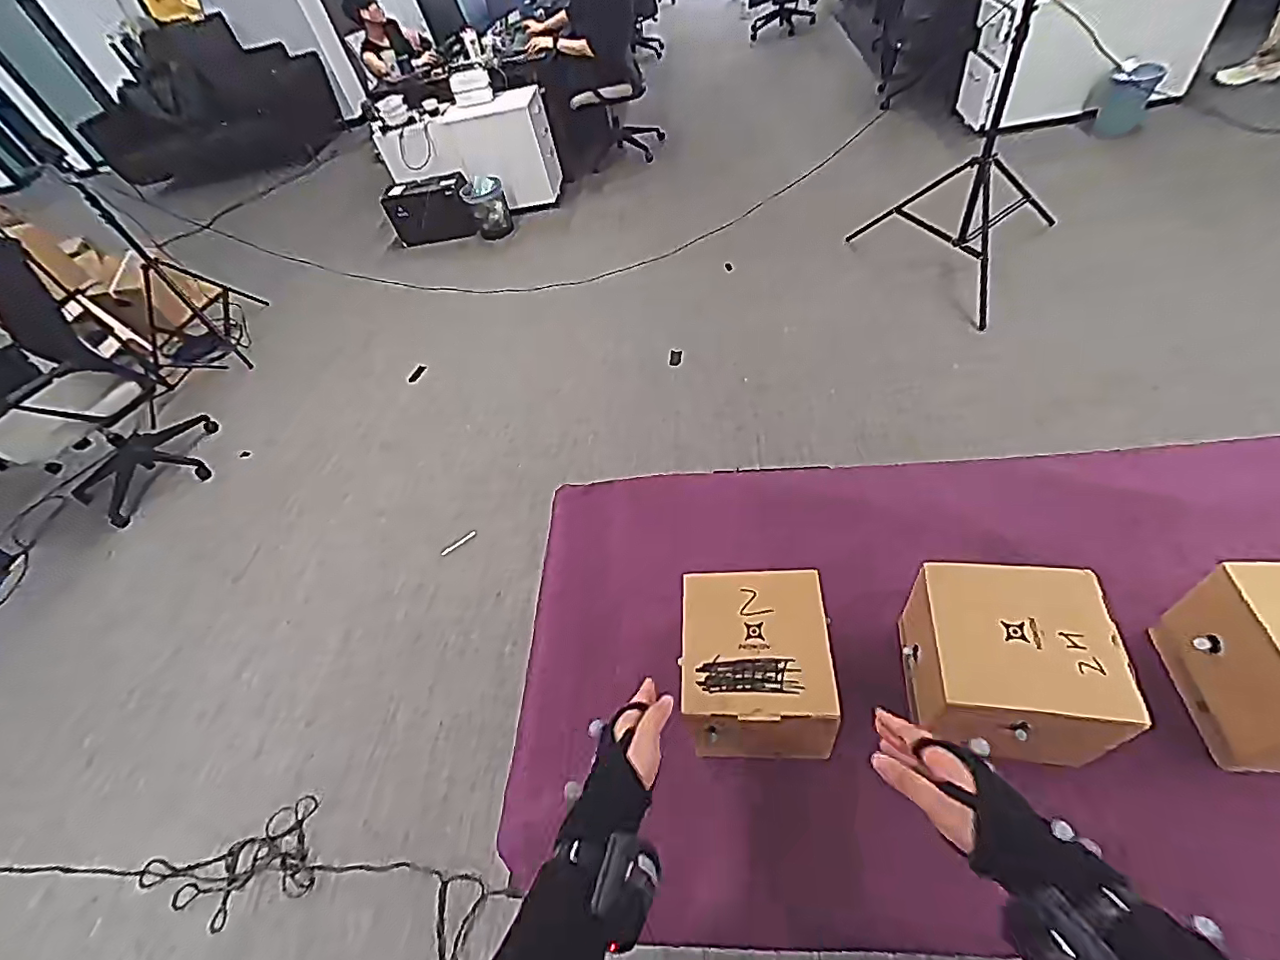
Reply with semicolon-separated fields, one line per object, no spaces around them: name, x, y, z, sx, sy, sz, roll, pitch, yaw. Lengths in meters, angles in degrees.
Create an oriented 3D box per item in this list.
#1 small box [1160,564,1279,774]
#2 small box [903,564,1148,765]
small box;0.709;0.203;0.569;0.179;0.176;0.168;-2;48;12
small box;0.416;0.214;0.628;0.179;0.176;0.168;2;51;14
